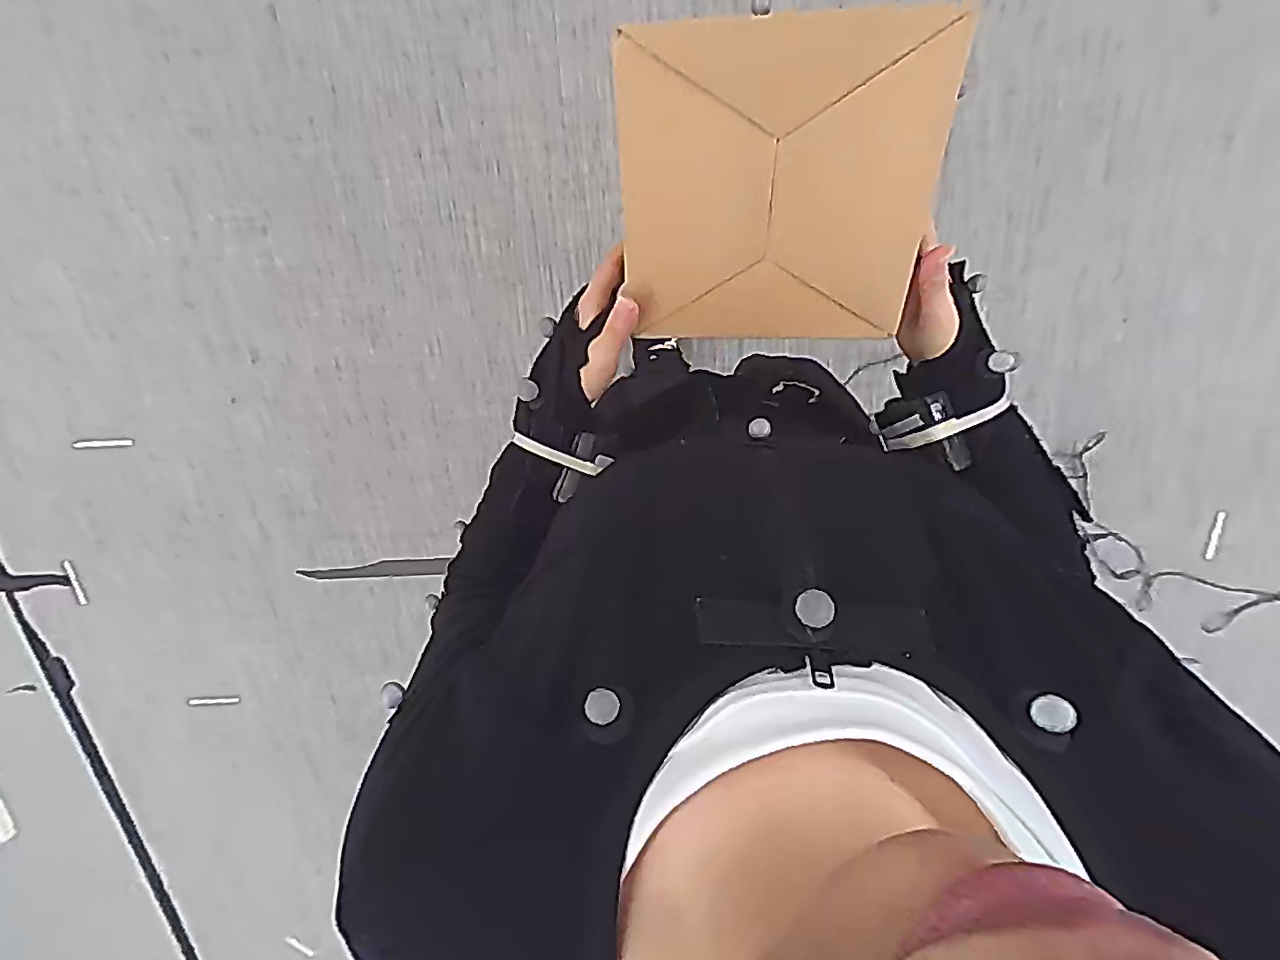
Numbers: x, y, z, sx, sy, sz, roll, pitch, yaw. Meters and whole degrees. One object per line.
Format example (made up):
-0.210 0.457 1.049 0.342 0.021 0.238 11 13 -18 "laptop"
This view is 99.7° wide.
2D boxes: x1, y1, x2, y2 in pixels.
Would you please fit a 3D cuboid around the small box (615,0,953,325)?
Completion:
0.085 -0.214 0.369 0.179 0.176 0.168 2 127 5 "small box"
